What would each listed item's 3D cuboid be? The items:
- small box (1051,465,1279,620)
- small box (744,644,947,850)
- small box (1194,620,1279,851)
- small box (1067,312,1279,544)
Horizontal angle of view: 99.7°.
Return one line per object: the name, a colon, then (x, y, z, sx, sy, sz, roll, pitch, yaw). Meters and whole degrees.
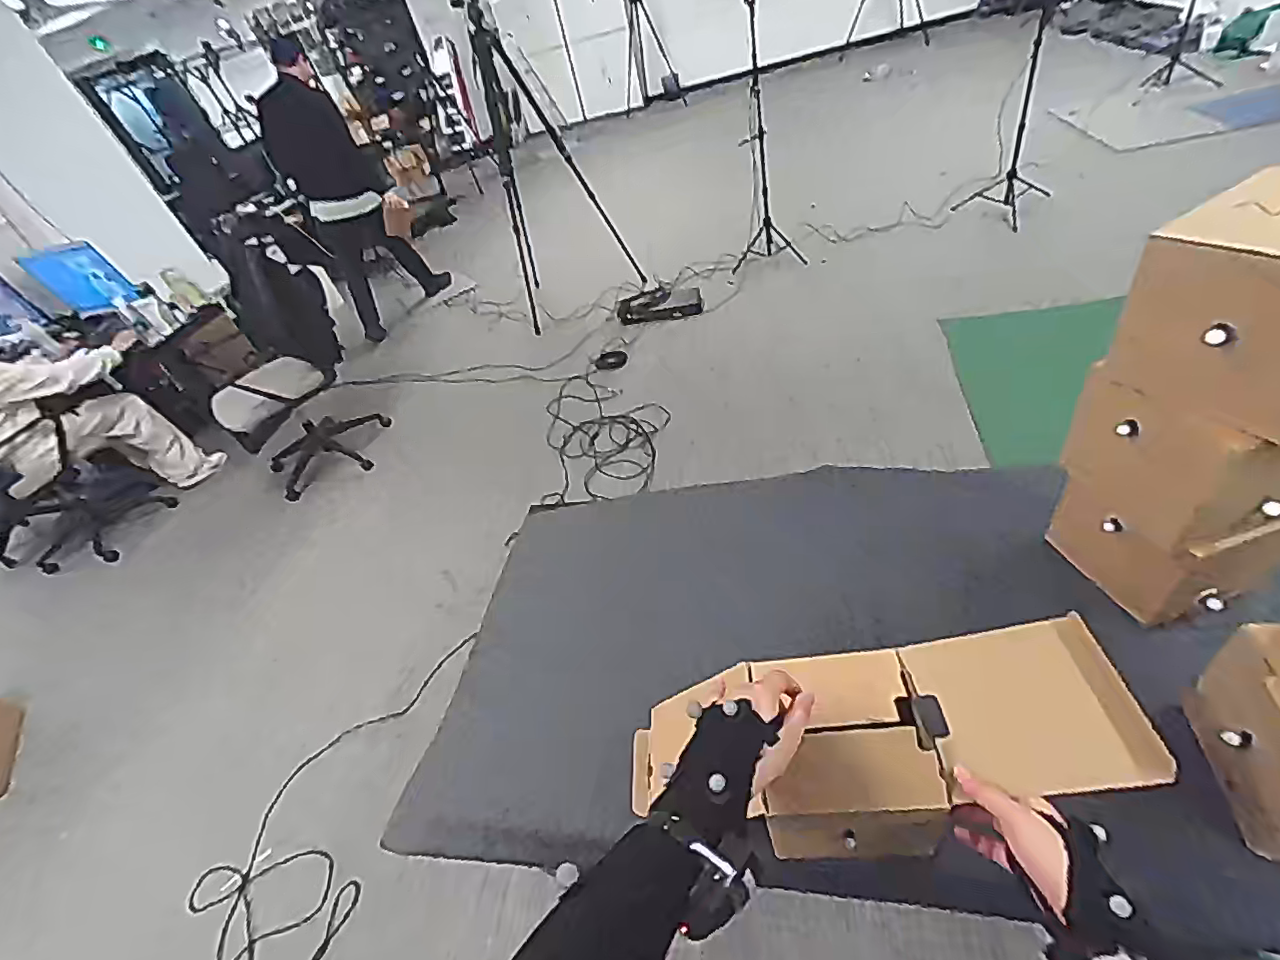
small box: (0.704, 0.054, 0.725, 0.168, 0.176, 0.179, -20, 44, 2)
small box: (0.225, 0.312, 0.626, 0.179, 0.176, 0.168, -10, 42, 12)
small box: (0.691, 0.256, 0.517, 0.179, 0.176, 0.168, 0, 42, 20)
small box: (0.643, -0.058, 0.619, 0.168, 0.176, 0.179, -19, 42, 5)
